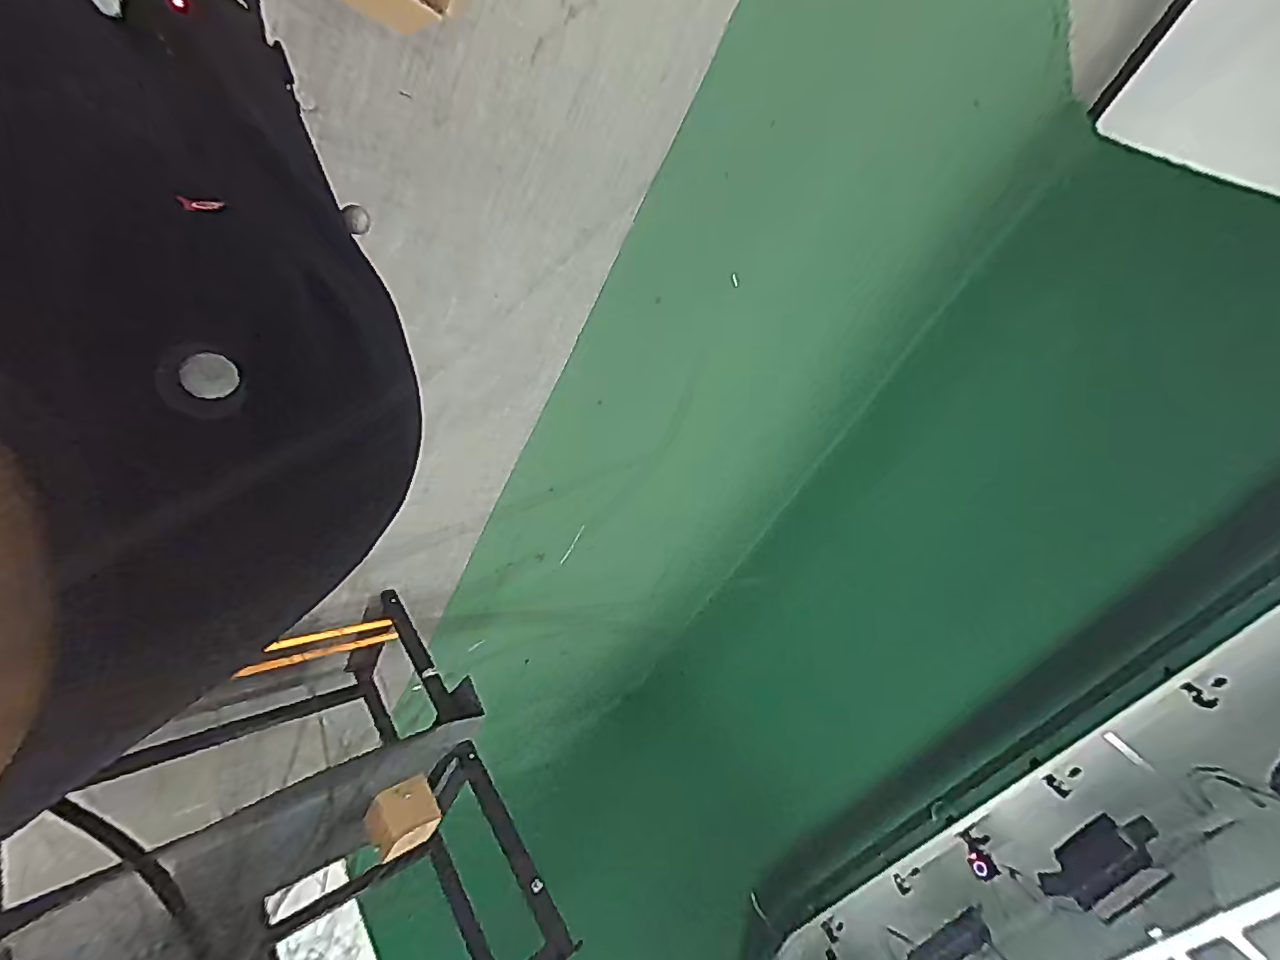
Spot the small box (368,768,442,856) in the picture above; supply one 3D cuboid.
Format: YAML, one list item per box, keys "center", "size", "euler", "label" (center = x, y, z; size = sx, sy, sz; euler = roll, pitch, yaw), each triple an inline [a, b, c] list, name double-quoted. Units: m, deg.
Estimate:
- center: [-0.820, 1.140, 1.870]
  size: [0.168, 0.176, 0.179]
  euler: [-4, 134, -49]
  label: "small box"
